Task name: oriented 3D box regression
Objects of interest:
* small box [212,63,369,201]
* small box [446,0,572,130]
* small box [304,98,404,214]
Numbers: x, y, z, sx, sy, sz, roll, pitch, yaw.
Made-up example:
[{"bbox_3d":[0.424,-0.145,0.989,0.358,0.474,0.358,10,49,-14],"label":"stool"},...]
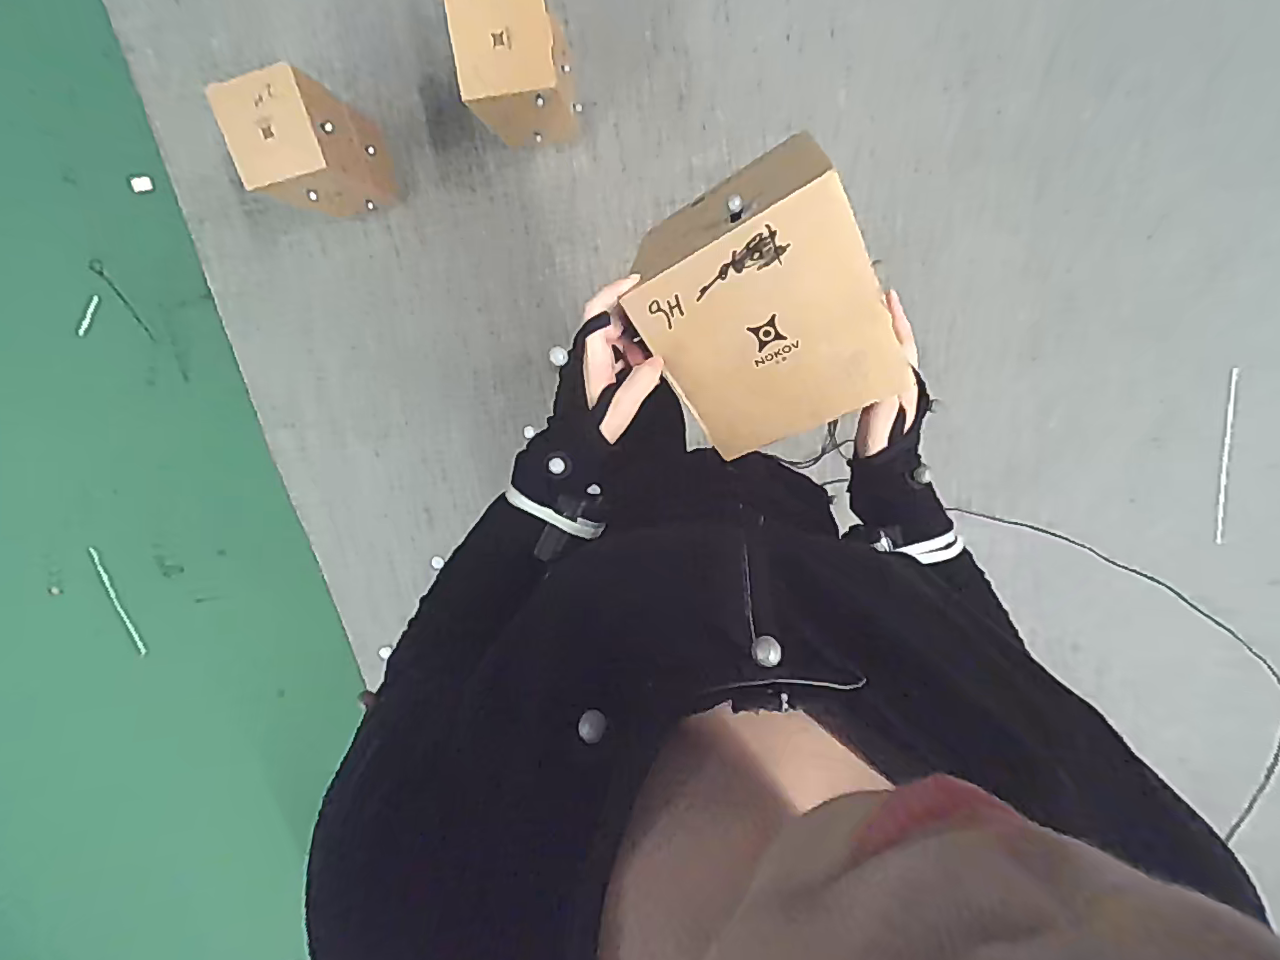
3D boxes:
[{"bbox_3d":[-0.671,-0.667,1.063,0.168,0.176,0.179,-12,106,4],"label":"small box"},{"bbox_3d":[-0.236,-0.784,1.014,0.179,0.176,0.168,-6,106,4],"label":"small box"},{"bbox_3d":[-0.665,-0.717,1.220,0.168,0.176,0.179,-11,105,4],"label":"small box"}]
